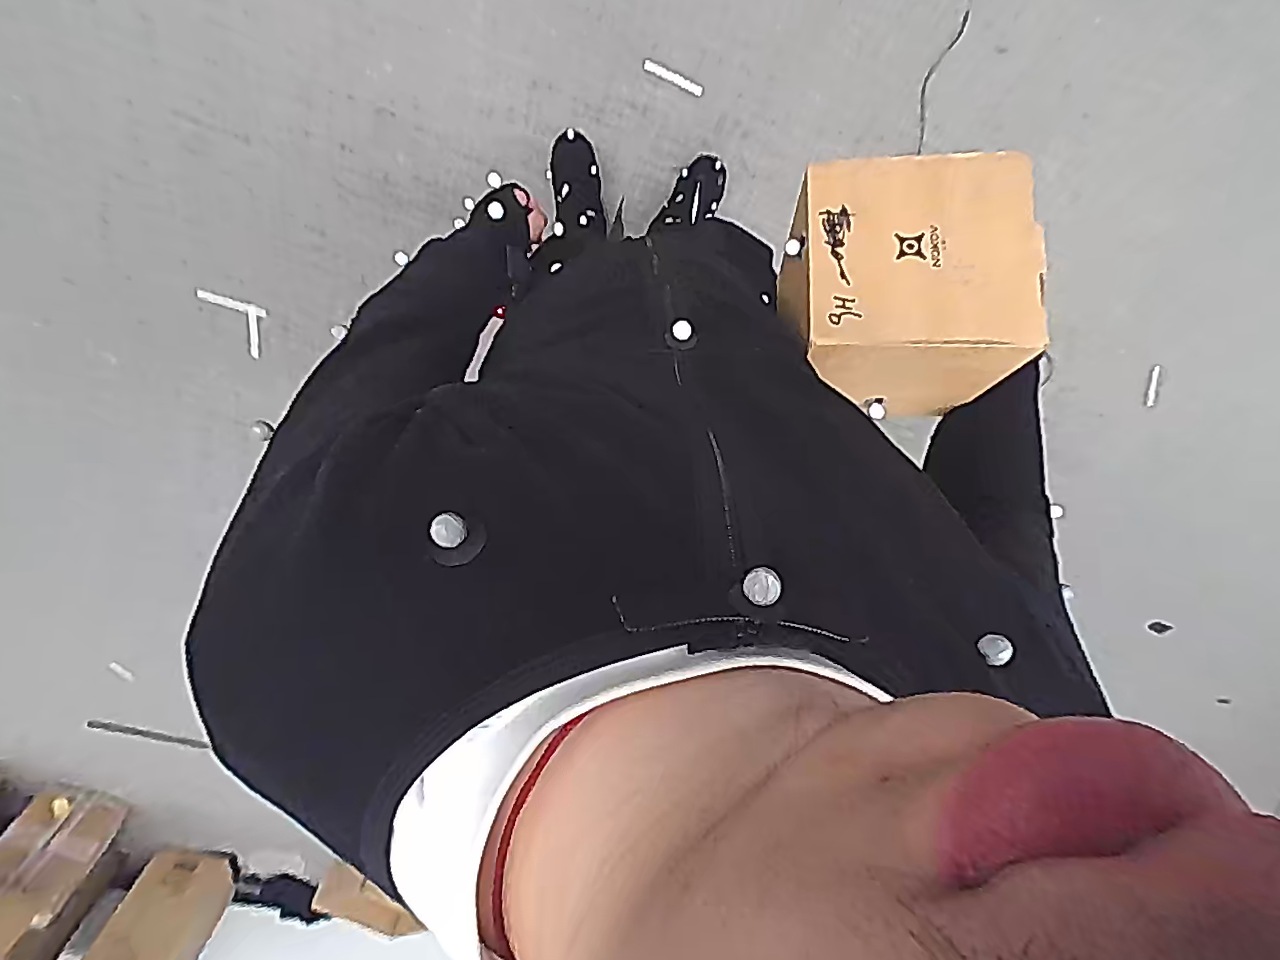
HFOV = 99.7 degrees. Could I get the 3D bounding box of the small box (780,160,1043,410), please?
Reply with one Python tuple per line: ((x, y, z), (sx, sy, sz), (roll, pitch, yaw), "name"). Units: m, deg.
((0.237, -0.172, 0.518), (0.179, 0.168, 0.176), (2, 168, 6), "small box")
